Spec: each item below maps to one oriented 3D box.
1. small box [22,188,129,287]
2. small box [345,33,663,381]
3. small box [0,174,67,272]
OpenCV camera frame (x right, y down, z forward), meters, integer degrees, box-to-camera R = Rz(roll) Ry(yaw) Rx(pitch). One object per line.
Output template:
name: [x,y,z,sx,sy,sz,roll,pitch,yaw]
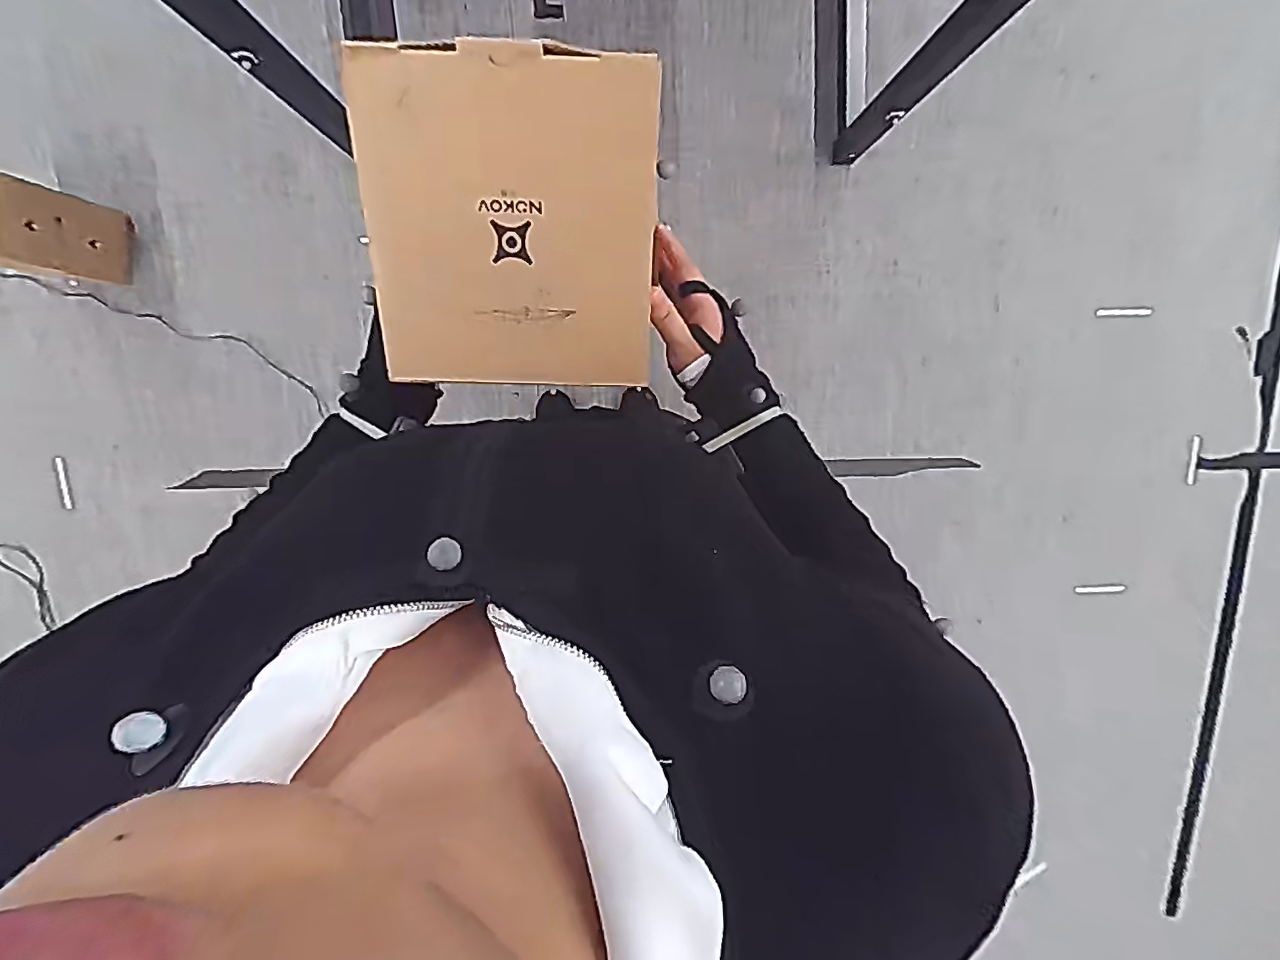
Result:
small box: [-1.334,-0.559,1.246,0.168,0.176,0.179,6,101,-4]
small box: [-0.075,-0.177,0.384,0.168,0.176,0.179,1,114,-1]
small box: [-1.316,-0.524,1.086,0.179,0.176,0.168,3,99,-3]
